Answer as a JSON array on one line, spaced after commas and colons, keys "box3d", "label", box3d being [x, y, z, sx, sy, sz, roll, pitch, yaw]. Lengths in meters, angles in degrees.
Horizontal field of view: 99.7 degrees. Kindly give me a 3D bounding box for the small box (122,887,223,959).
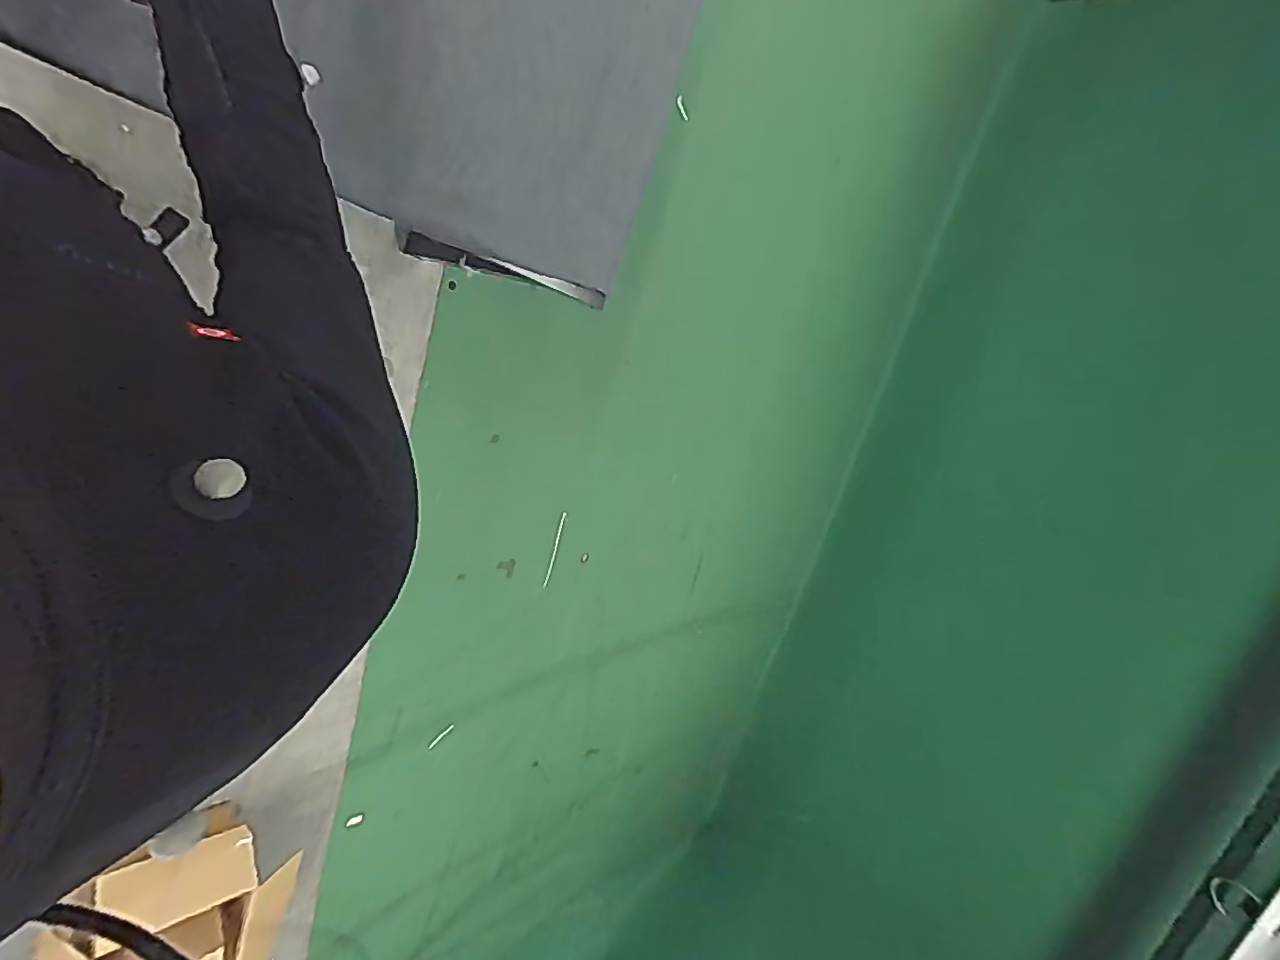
[{"box3d": [-1.157, 1.169, 1.333, 0.179, 0.176, 0.168, 6, 109, -45], "label": "small box"}]
